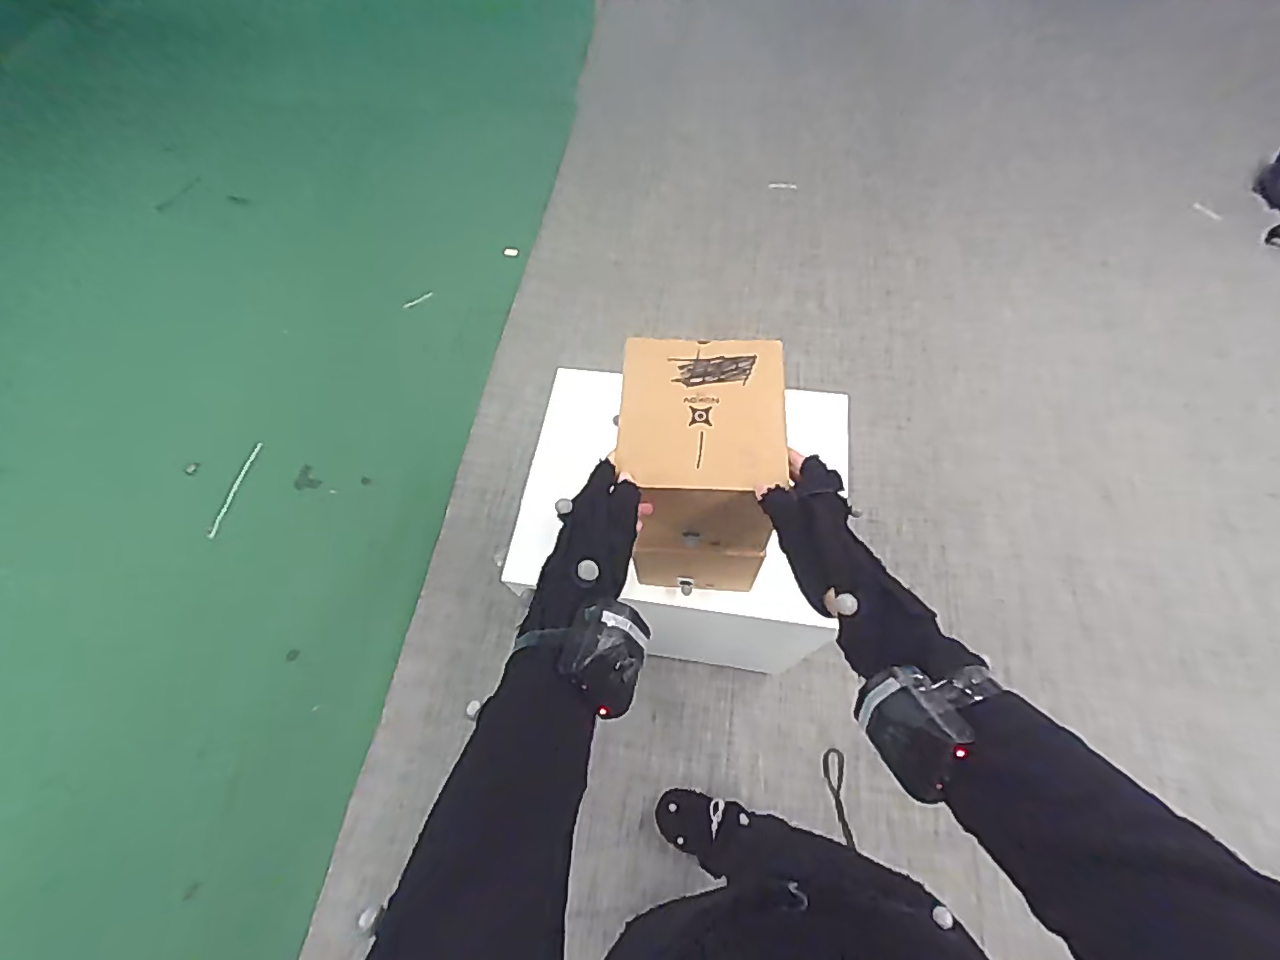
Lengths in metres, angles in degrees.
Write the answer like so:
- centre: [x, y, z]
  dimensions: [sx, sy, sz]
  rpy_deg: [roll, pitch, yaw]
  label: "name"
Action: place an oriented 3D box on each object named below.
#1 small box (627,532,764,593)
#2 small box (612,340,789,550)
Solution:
- centre: [0.077, 0.047, 0.748]
  dimensions: [0.168, 0.176, 0.179]
  rpy_deg: [1, 65, 7]
  label: "small box"
- centre: [0.062, -0.033, 0.605]
  dimensions: [0.168, 0.176, 0.179]
  rpy_deg: [-1, 62, 5]
  label: "small box"
